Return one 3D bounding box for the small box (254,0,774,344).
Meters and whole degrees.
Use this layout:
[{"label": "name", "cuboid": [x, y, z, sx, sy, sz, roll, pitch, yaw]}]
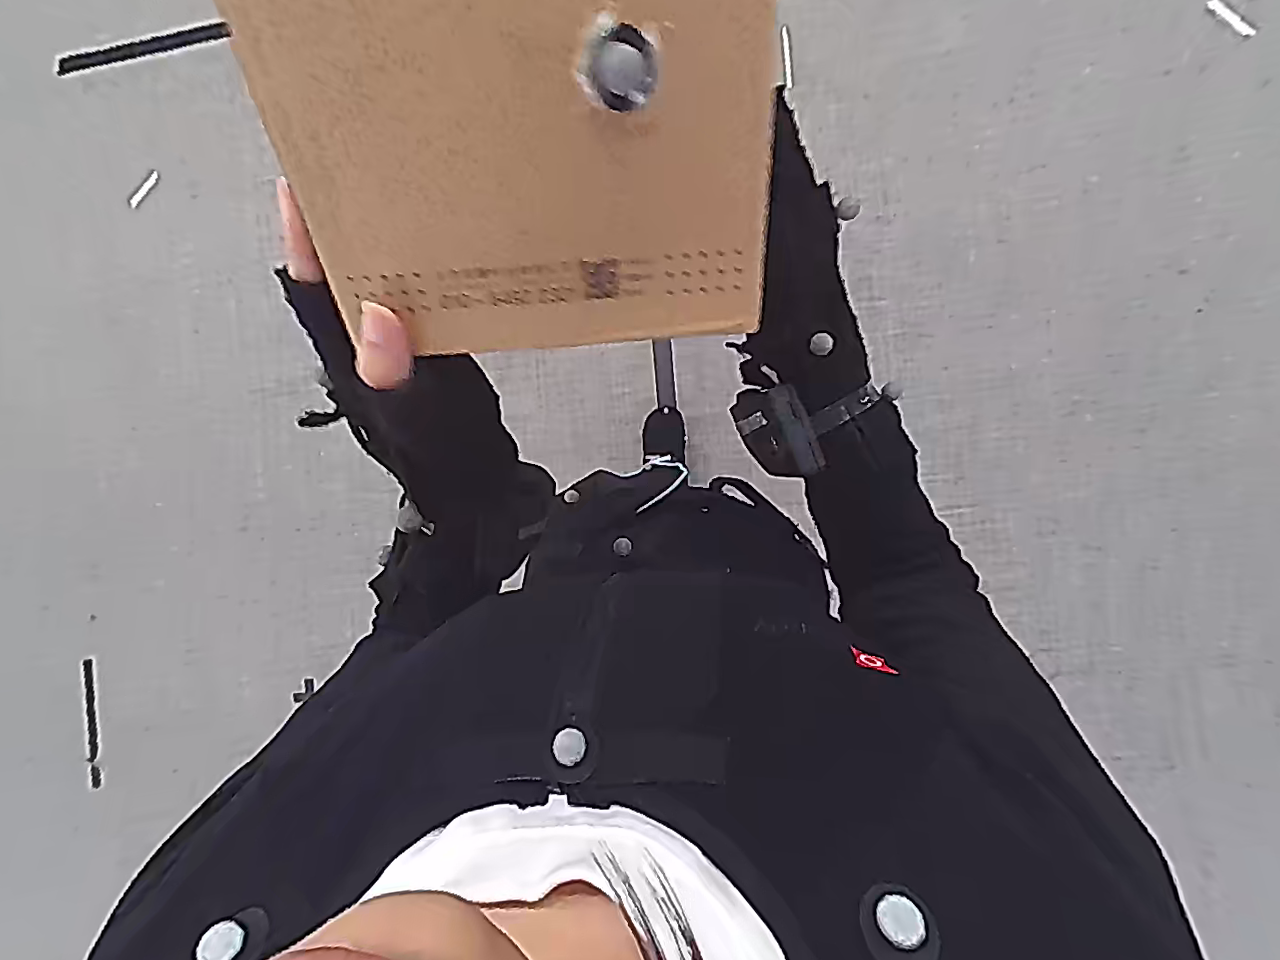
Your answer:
[{"label": "small box", "cuboid": [-0.037, -0.169, 0.249, 0.168, 0.179, 0.176, -4, 126, 0]}]
